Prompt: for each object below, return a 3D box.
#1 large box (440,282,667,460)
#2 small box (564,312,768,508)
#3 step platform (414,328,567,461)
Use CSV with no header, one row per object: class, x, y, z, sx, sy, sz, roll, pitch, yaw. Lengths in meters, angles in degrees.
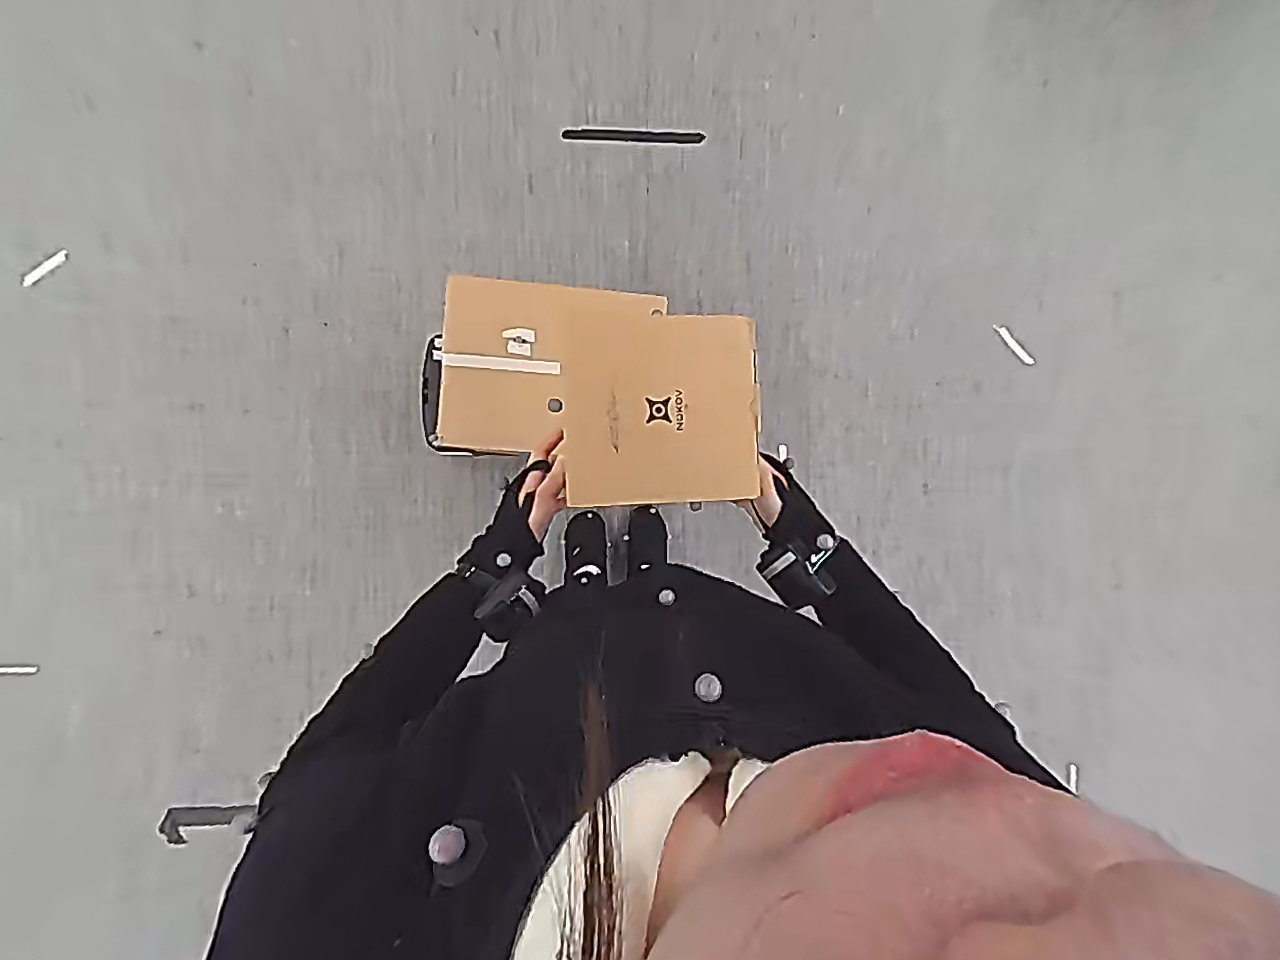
large box,-0.163,-0.197,1.133,0.408,0.320,0.320,4,90,-4
small box,0.014,-0.063,0.540,0.179,0.176,0.168,-2,92,-7
step platform,-0.203,-0.189,1.369,0.684,0.204,0.286,6,90,-4
